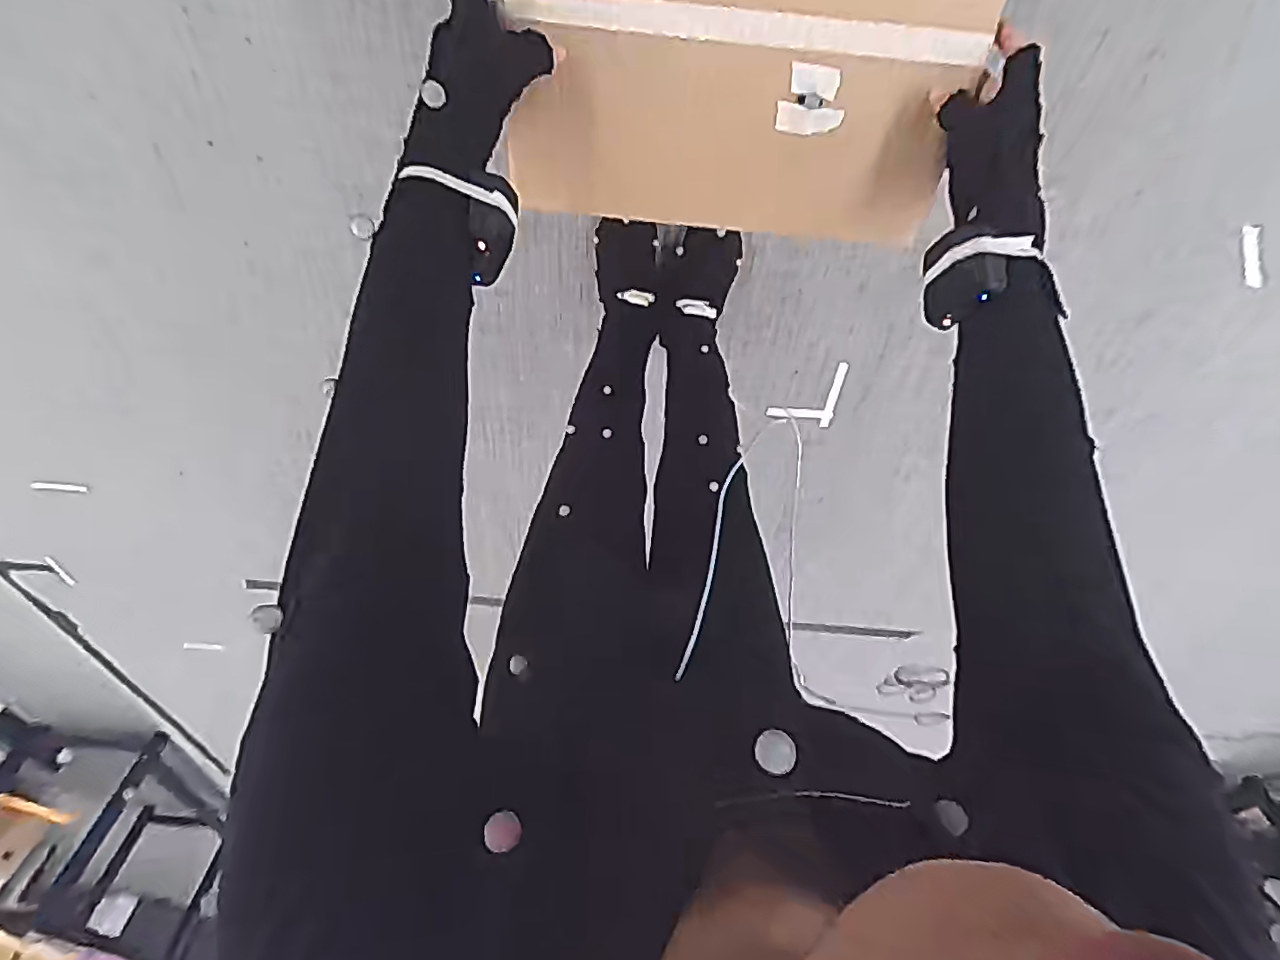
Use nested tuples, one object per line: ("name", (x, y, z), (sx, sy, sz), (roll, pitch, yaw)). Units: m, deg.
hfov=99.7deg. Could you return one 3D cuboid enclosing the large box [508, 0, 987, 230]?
("large box", (0.088, -0.484, 0.572), (0.408, 0.320, 0.320), (5, 131, -2))
